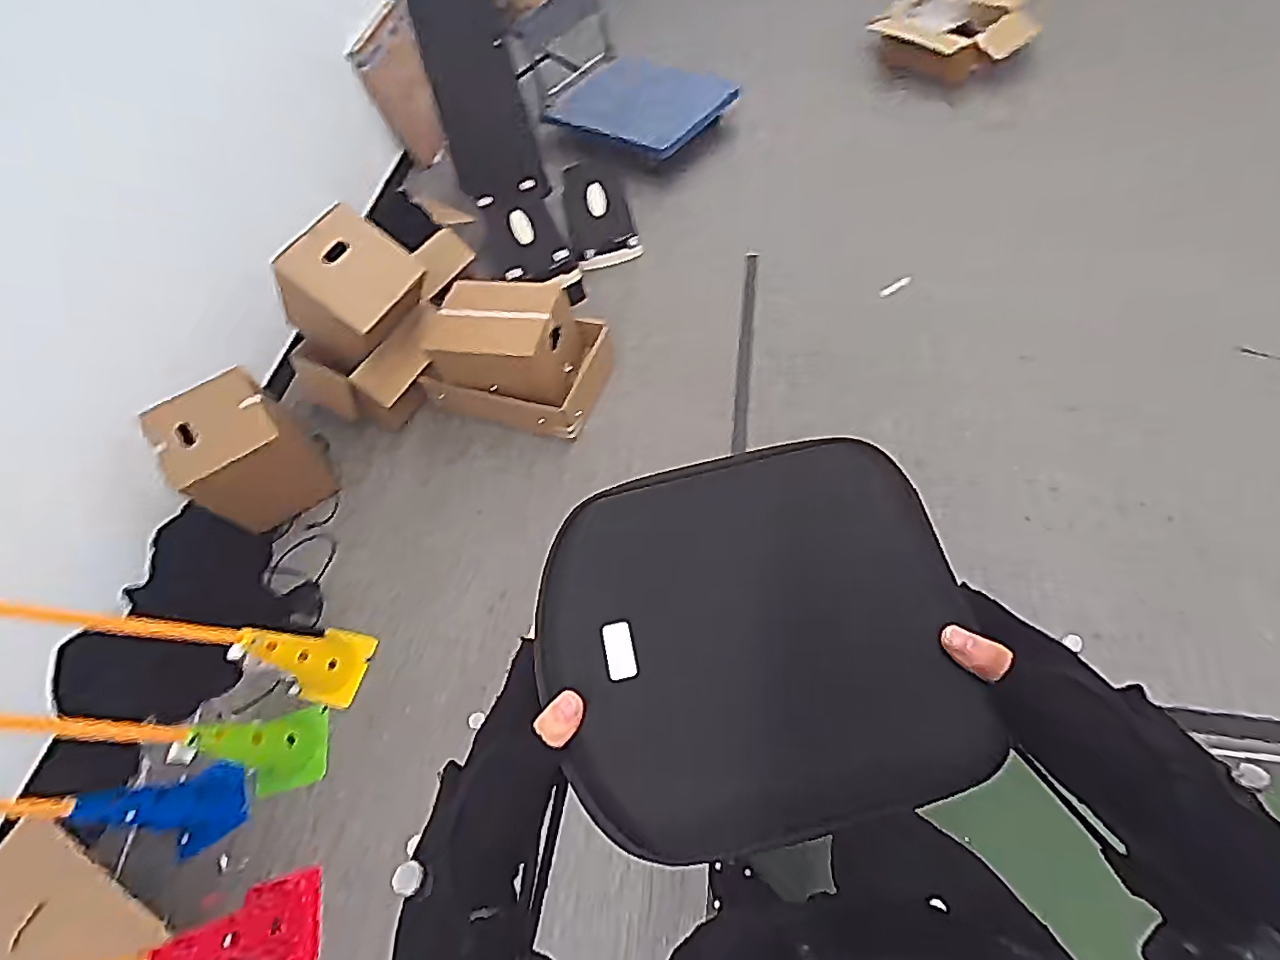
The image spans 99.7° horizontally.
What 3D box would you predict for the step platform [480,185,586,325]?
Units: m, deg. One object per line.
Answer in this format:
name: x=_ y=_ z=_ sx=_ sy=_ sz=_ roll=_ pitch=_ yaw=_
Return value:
step platform: x=-0.467 y=-0.980 z=2.308 sx=0.286 sy=0.204 sz=0.684 roll=-23 pitch=59 yaw=-2
